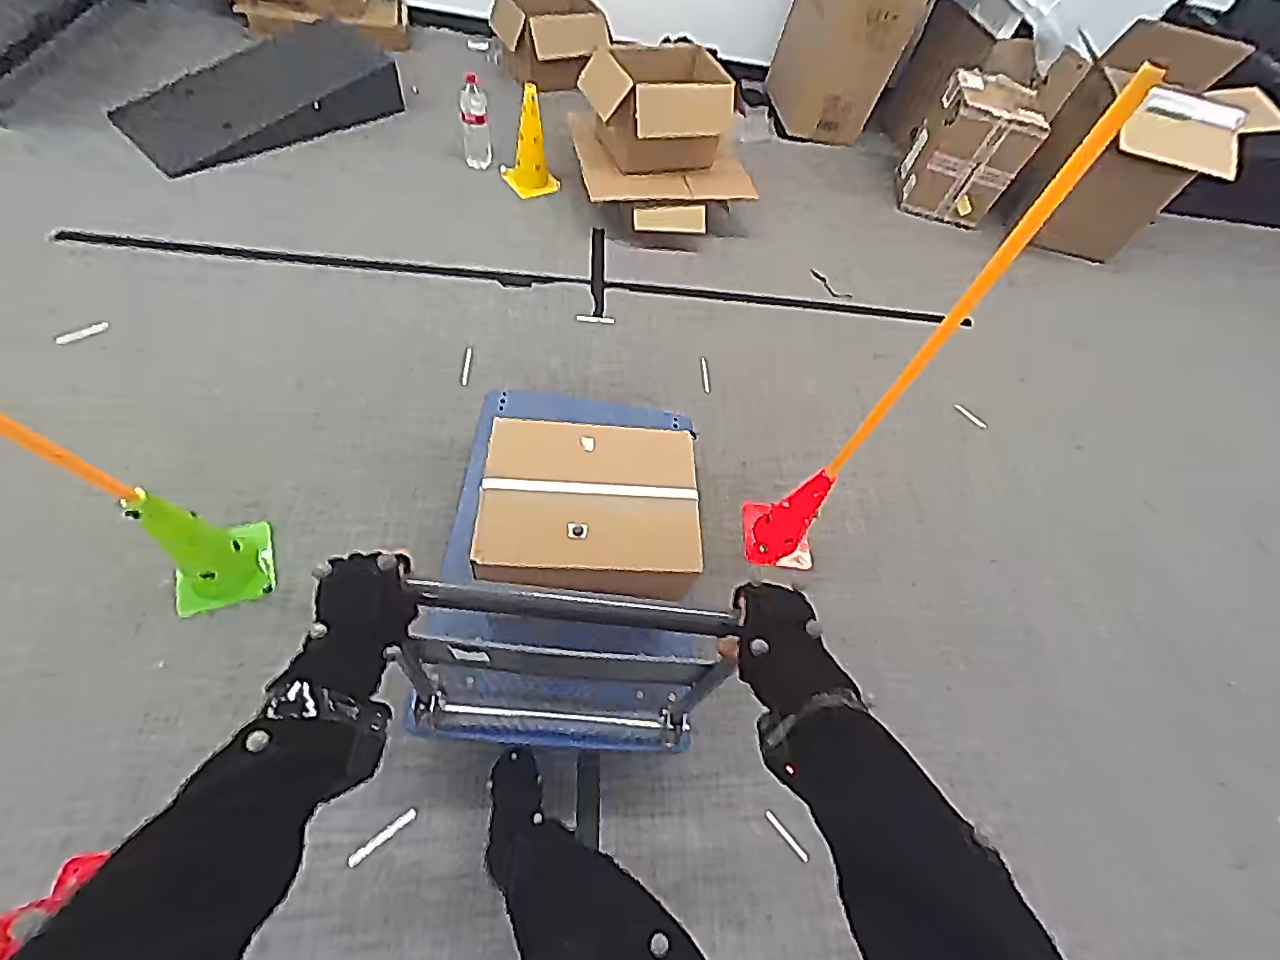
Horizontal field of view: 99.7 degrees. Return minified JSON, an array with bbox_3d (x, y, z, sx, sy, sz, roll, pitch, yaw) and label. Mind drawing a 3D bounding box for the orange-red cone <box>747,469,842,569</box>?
[{"bbox_3d":[0.440,0.076,1.444,0.199,0.360,0.198,9,59,-7],"label":"orange-red cone"}]
